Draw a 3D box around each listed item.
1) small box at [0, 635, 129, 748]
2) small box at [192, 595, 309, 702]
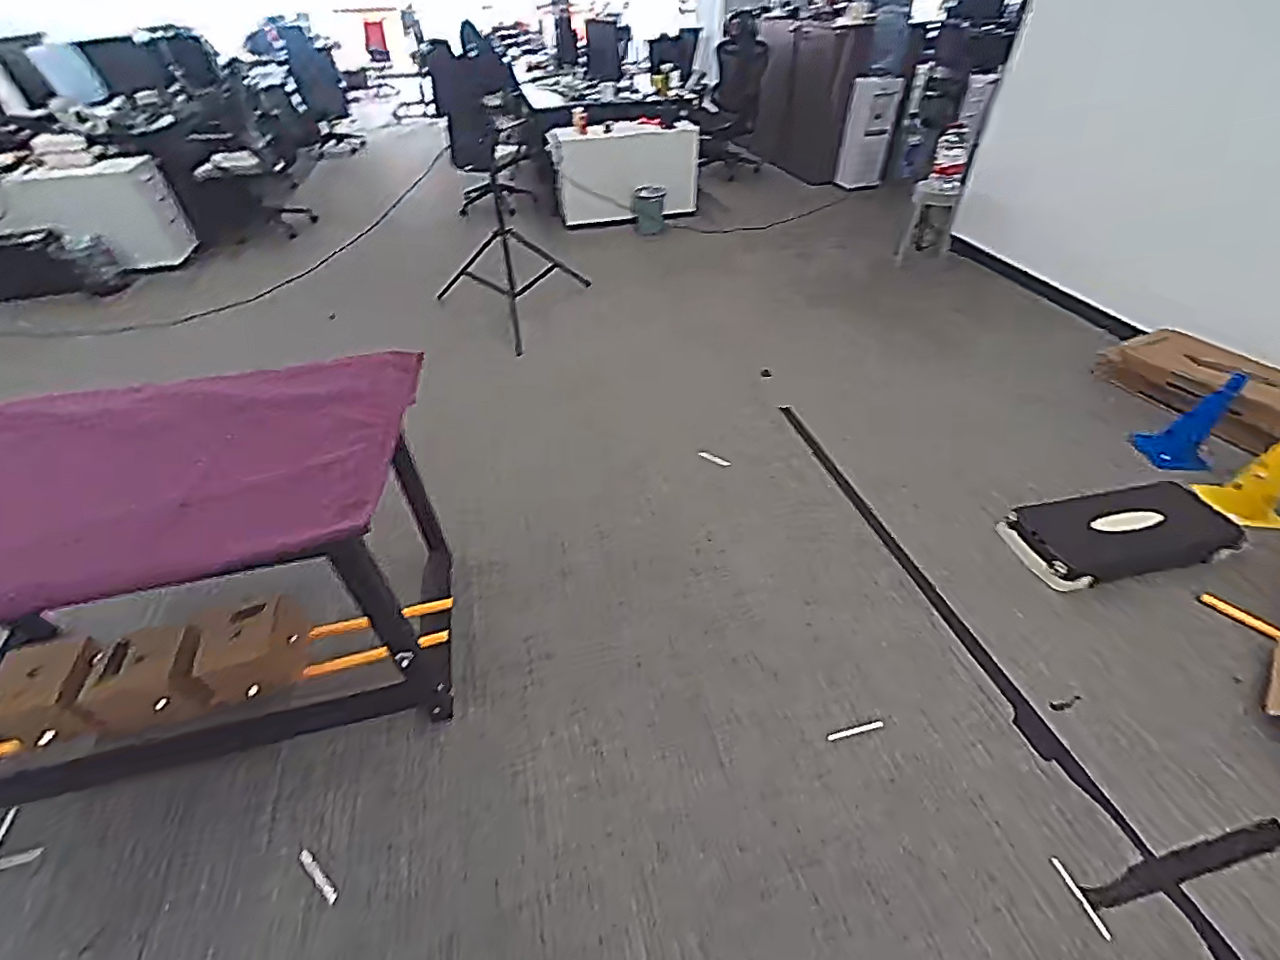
[{"bbox_3d":[-1.362,0.494,1.264,0.168,0.176,0.179,-10,46,-10],"label":"small box"},{"bbox_3d":[-0.949,0.417,1.338,0.168,0.176,0.179,-13,47,-10],"label":"small box"}]
